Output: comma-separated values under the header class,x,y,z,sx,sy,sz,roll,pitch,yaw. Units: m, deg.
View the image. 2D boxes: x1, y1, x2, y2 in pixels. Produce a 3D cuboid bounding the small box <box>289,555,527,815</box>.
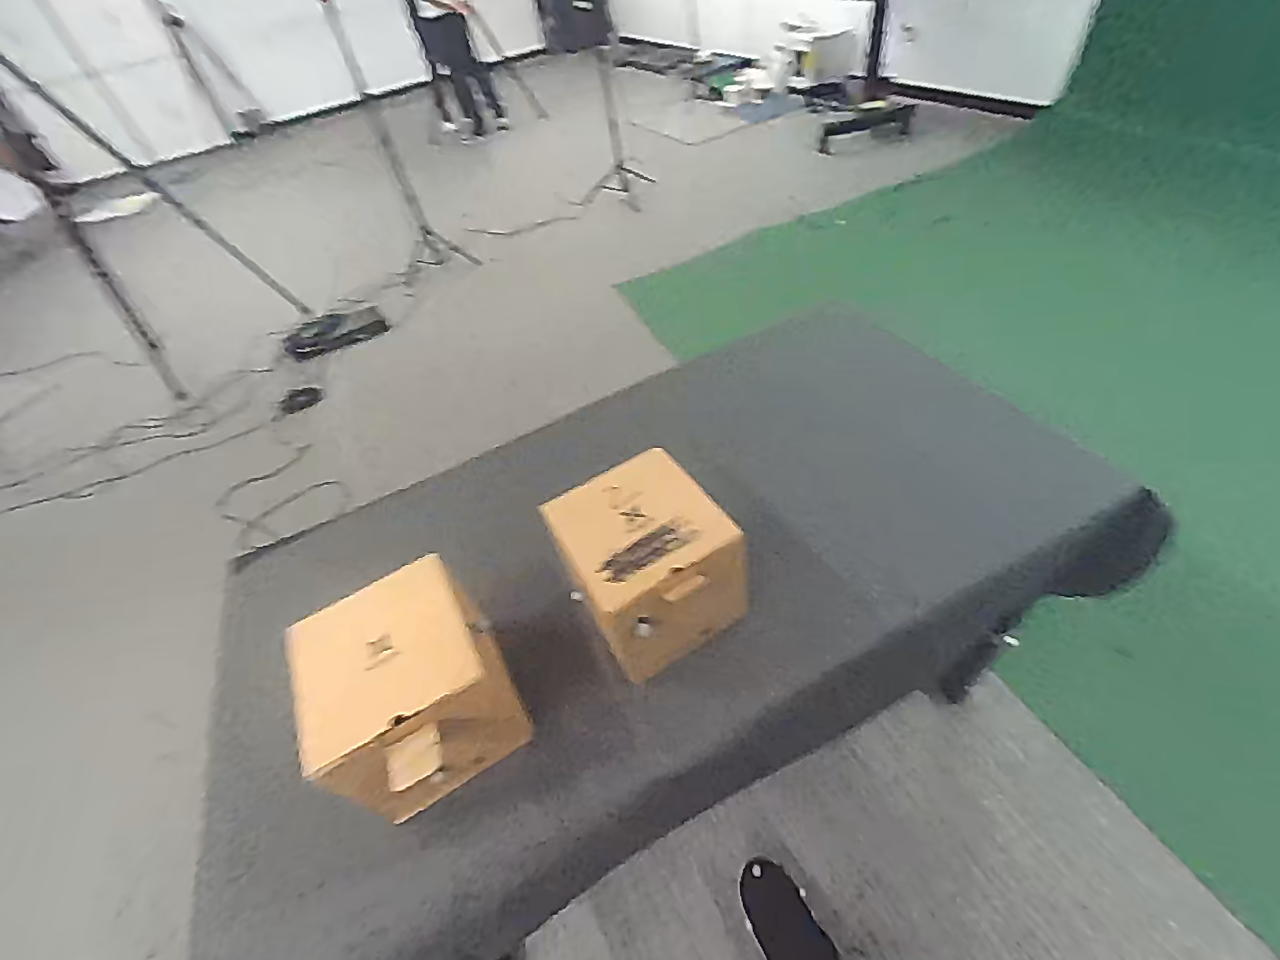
class,x,y,z,sx,sy,sz,roll,pitch,yaw
small box,-0.246,0.222,0.590,0.168,0.176,0.179,-28,48,-16
